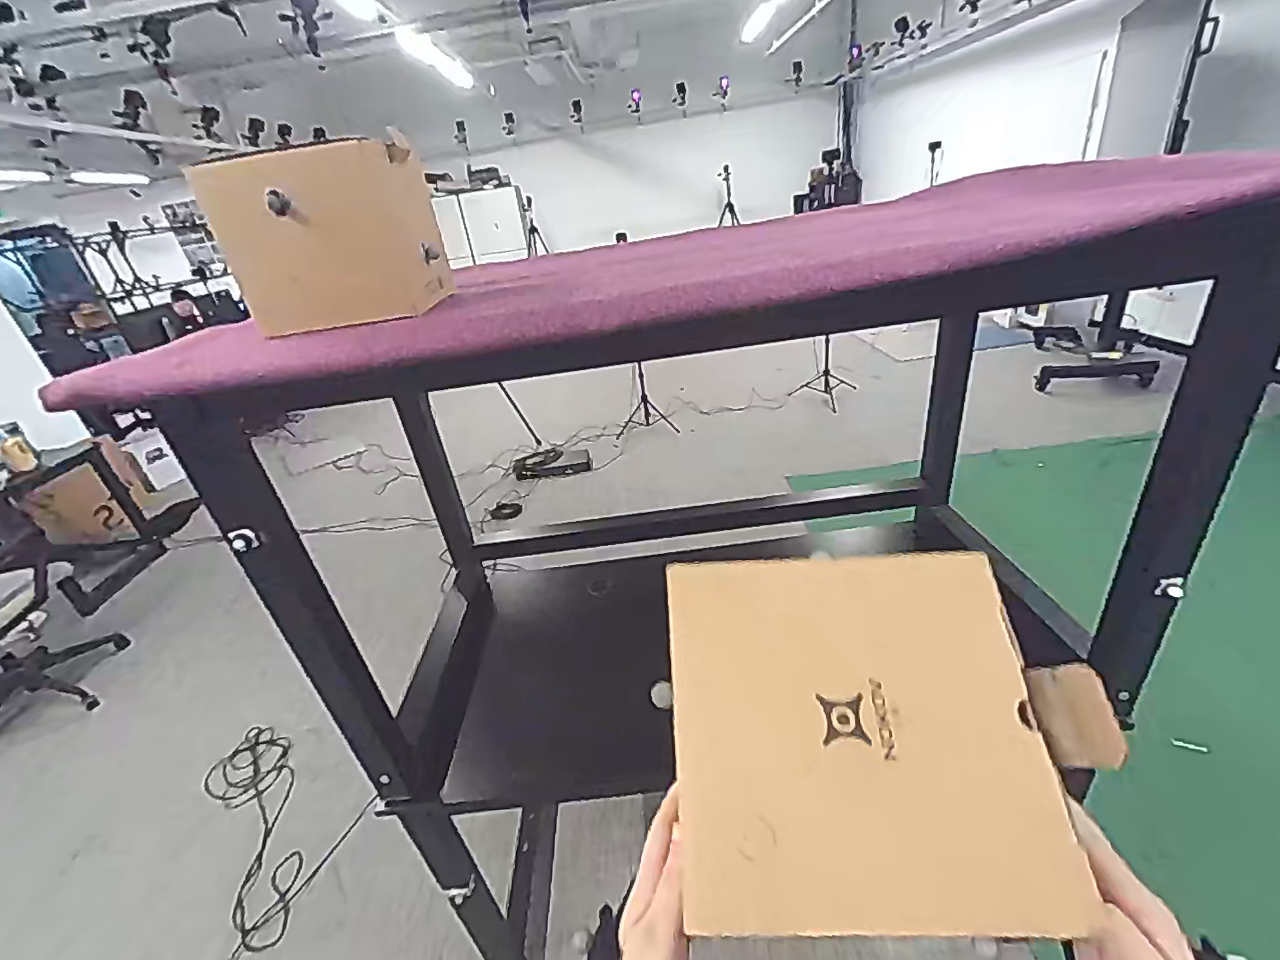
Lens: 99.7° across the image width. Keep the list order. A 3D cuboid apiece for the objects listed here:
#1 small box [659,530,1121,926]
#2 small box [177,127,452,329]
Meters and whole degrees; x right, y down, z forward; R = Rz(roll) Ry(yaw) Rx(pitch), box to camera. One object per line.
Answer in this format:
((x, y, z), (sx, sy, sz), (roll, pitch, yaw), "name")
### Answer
((0.106, 0.140, 0.321), (0.179, 0.176, 0.168), (-4, 63, 4), "small box")
((-0.338, -0.276, 0.605), (0.179, 0.176, 0.168), (-8, 29, 2), "small box")
